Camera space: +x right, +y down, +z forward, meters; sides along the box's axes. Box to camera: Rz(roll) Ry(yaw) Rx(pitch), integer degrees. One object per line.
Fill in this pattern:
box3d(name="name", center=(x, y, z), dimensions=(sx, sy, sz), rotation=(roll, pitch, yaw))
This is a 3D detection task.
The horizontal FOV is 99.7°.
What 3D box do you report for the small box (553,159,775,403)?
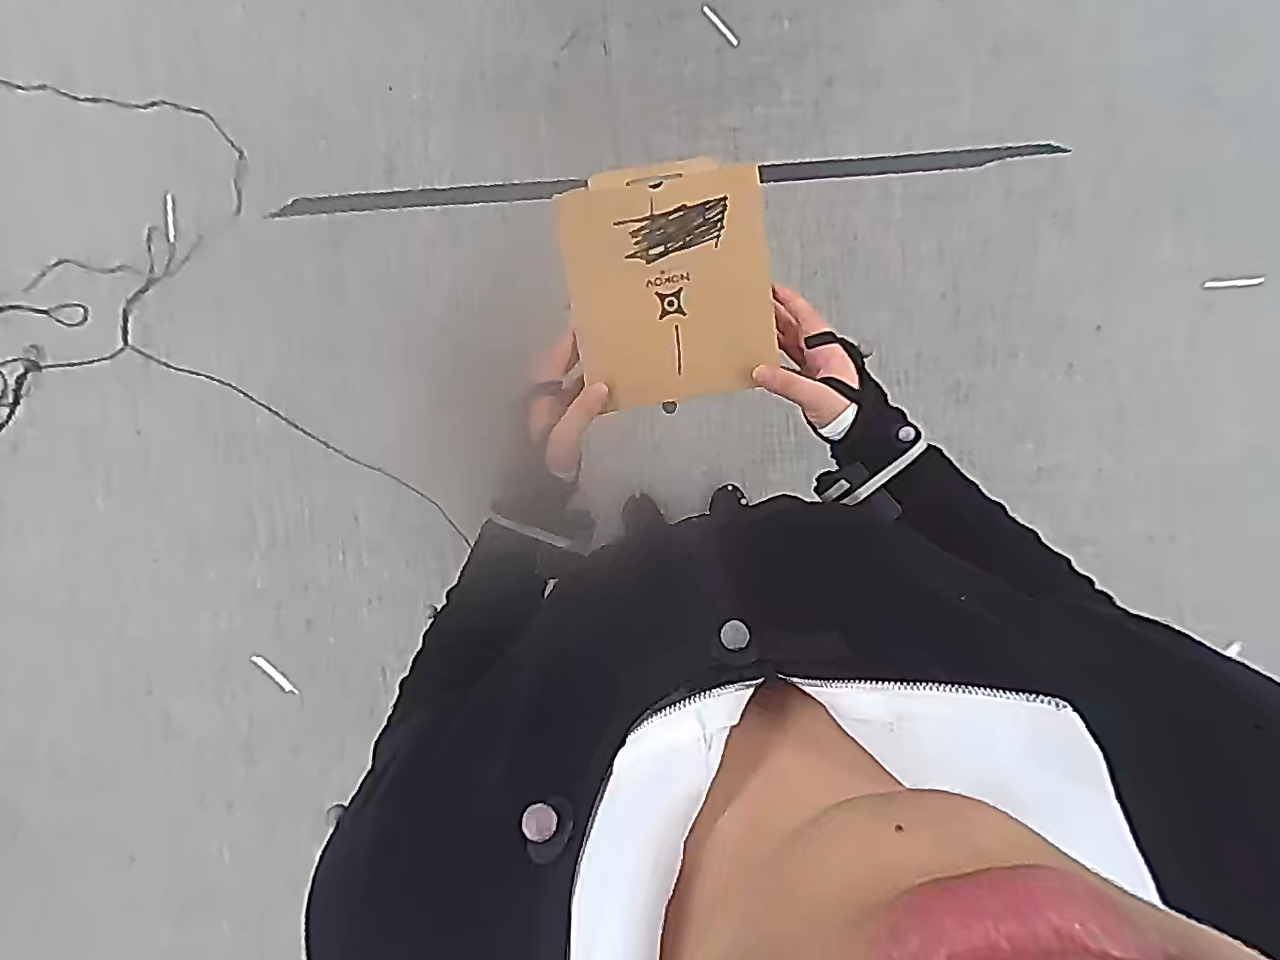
box3d(name="small box", center=(0.019, -0.173, 0.521), dimensions=(0.168, 0.176, 0.179), rotation=(-9, 101, 0))
